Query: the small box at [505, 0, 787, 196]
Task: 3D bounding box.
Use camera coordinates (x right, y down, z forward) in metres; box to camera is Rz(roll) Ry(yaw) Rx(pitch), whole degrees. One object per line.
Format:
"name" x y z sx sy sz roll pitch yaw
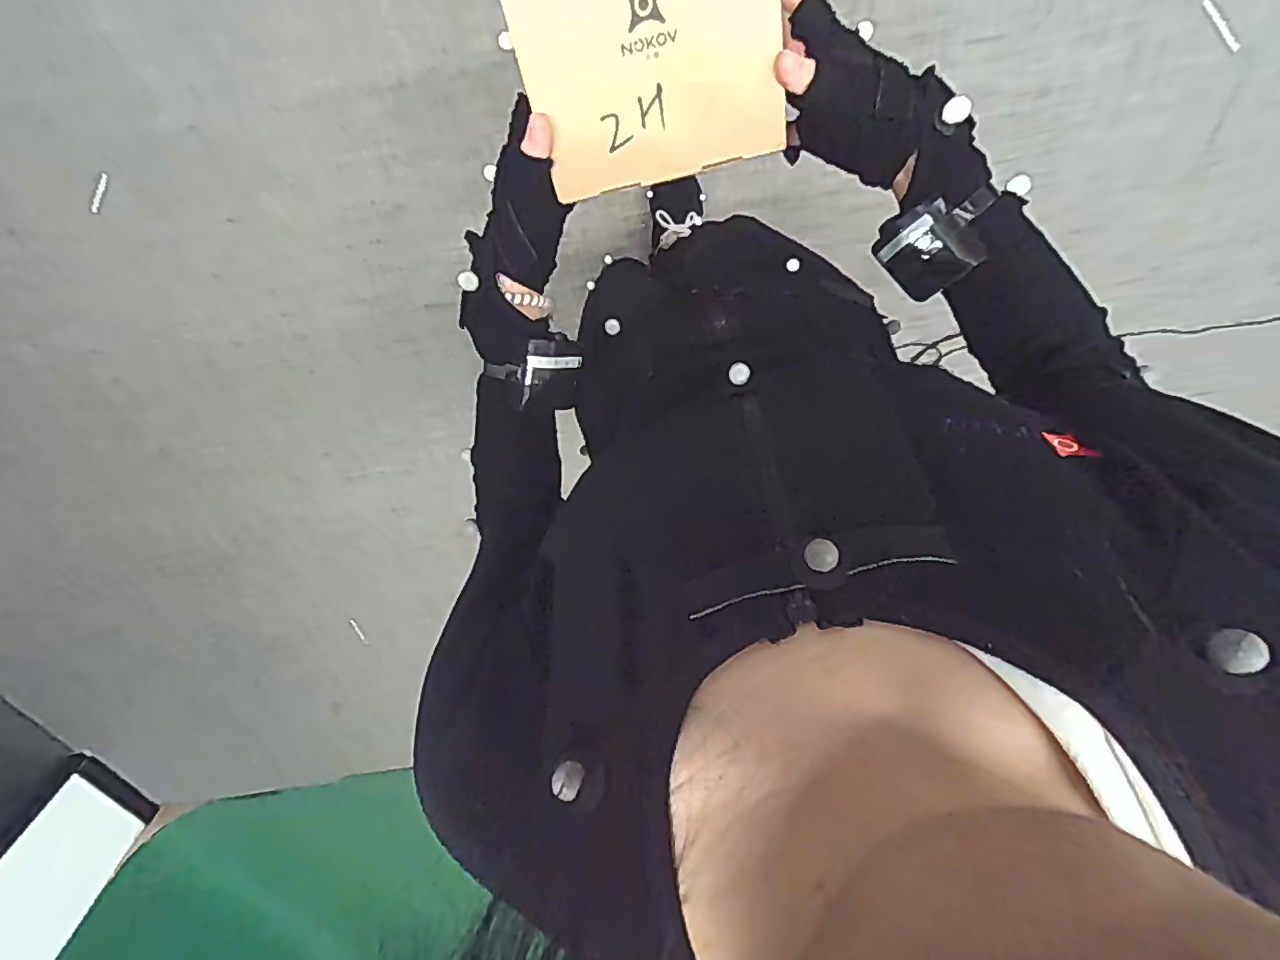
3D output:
"small box" 0.002 -0.329 0.384 0.168 0.176 0.179 -9 129 7
